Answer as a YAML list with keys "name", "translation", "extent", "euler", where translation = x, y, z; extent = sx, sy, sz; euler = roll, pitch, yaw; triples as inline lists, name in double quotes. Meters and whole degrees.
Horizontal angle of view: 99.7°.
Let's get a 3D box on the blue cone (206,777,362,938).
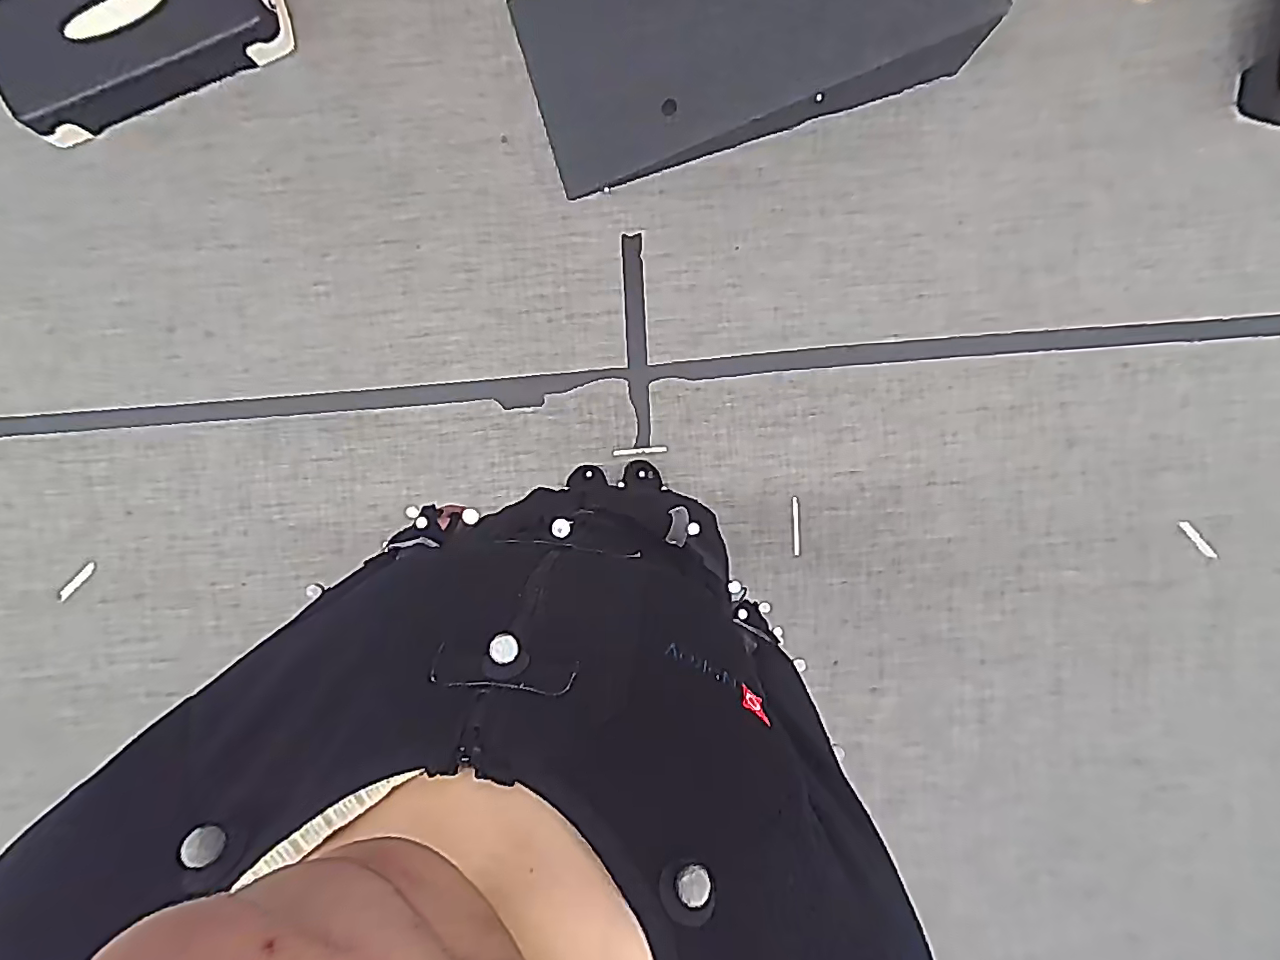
- name: "blue cone"
  translation: [-0.844, 0.895, 1.277]
  extent: [0.192, 0.380, 0.193]
  euler: [-3, 94, 2]
